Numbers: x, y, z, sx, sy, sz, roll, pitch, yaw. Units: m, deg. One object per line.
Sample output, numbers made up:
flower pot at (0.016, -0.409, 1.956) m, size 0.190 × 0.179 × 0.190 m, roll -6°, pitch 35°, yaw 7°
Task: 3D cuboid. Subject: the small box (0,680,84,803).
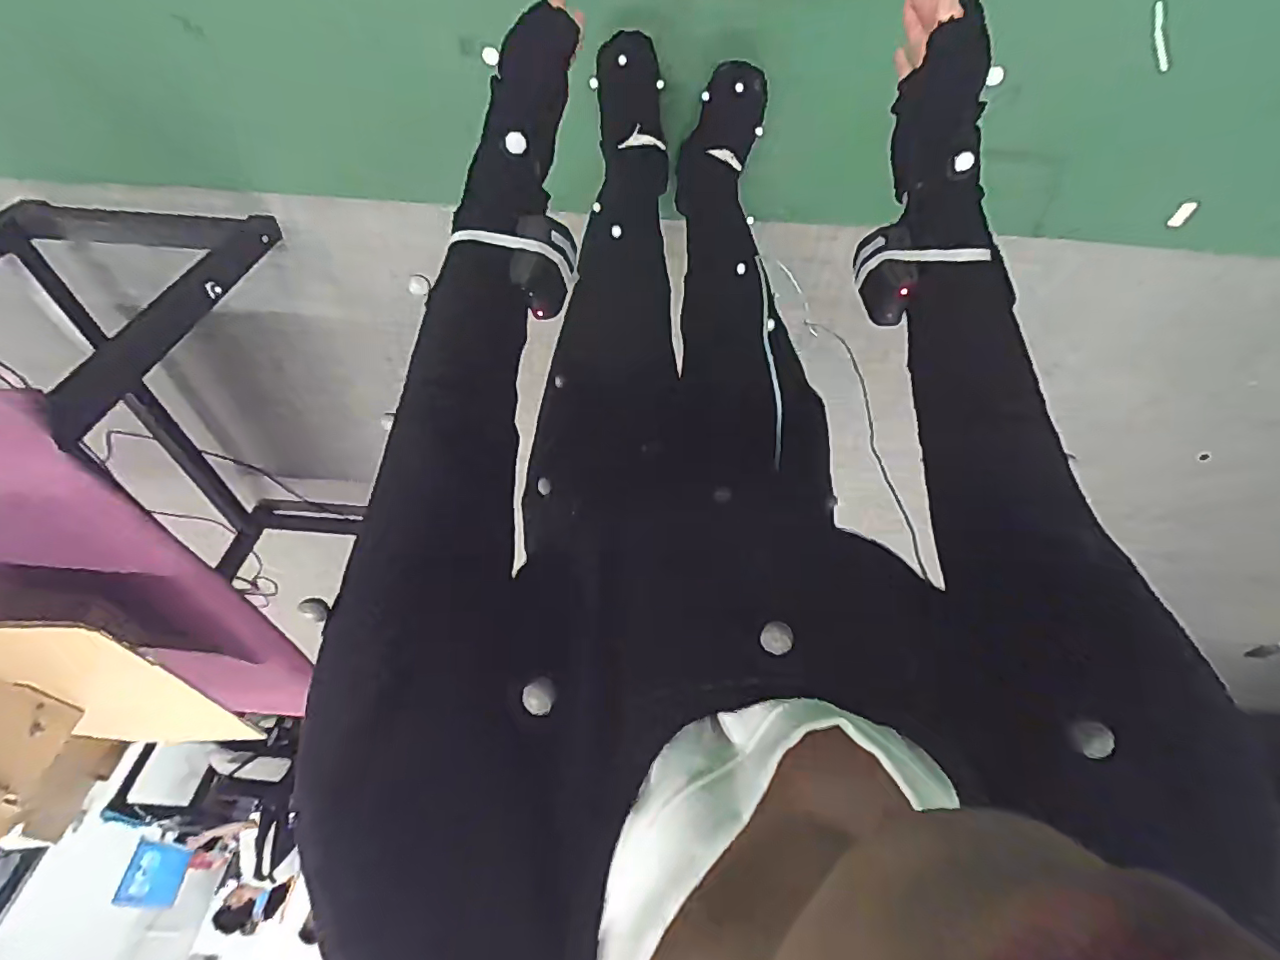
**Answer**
small box at (-1.204, 0.468, 0.984) m, size 0.179 × 0.176 × 0.168 m, roll 7°, pitch 140°, yaw -1°
